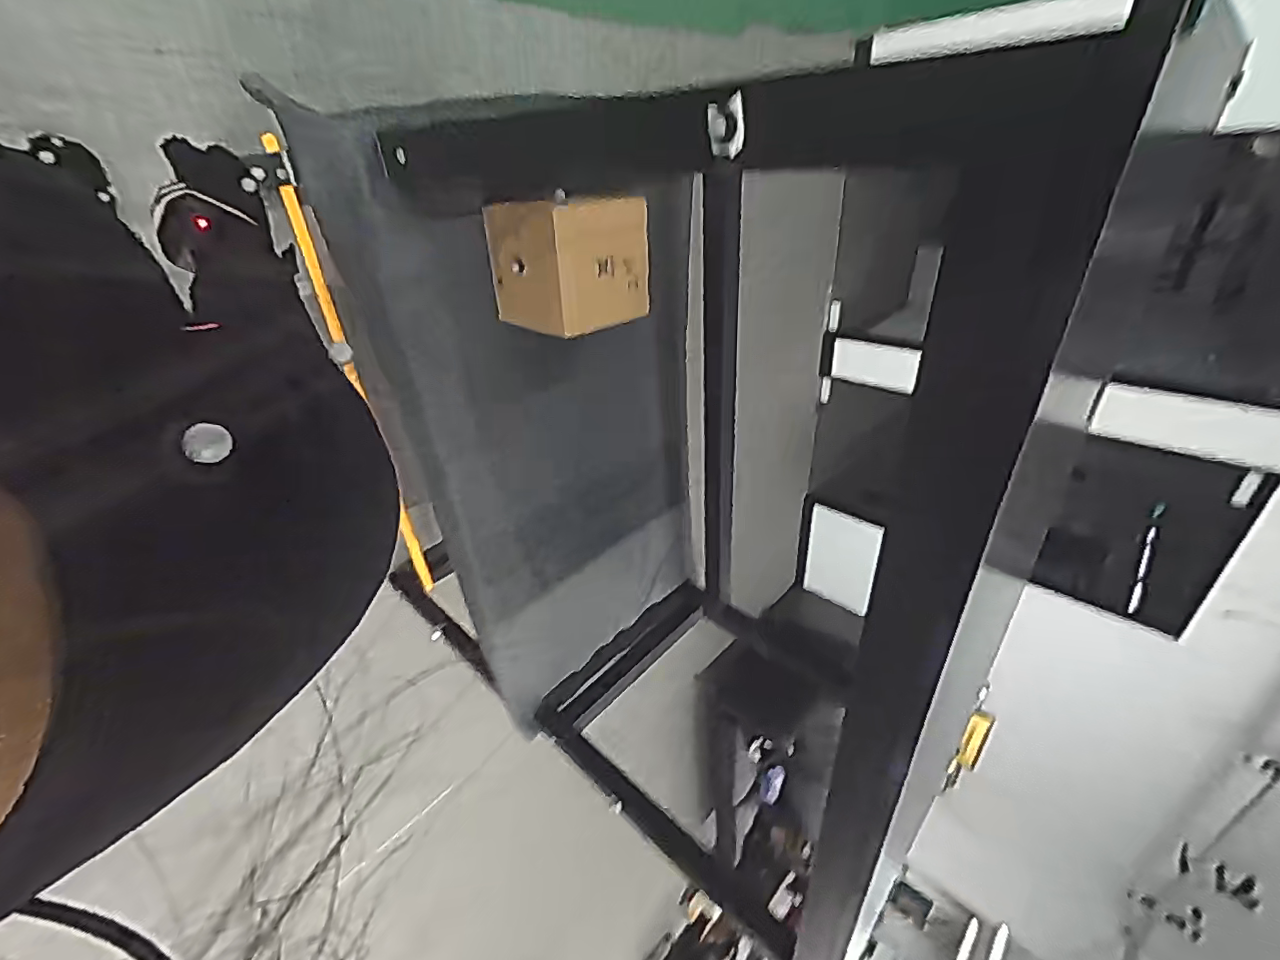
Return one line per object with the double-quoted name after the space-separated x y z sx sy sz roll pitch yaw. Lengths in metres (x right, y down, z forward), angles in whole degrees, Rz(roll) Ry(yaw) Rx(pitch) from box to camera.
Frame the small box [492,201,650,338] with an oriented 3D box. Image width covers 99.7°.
-0.105 -0.323 0.812 0.179 0.176 0.168 -29 130 -38 "small box"
